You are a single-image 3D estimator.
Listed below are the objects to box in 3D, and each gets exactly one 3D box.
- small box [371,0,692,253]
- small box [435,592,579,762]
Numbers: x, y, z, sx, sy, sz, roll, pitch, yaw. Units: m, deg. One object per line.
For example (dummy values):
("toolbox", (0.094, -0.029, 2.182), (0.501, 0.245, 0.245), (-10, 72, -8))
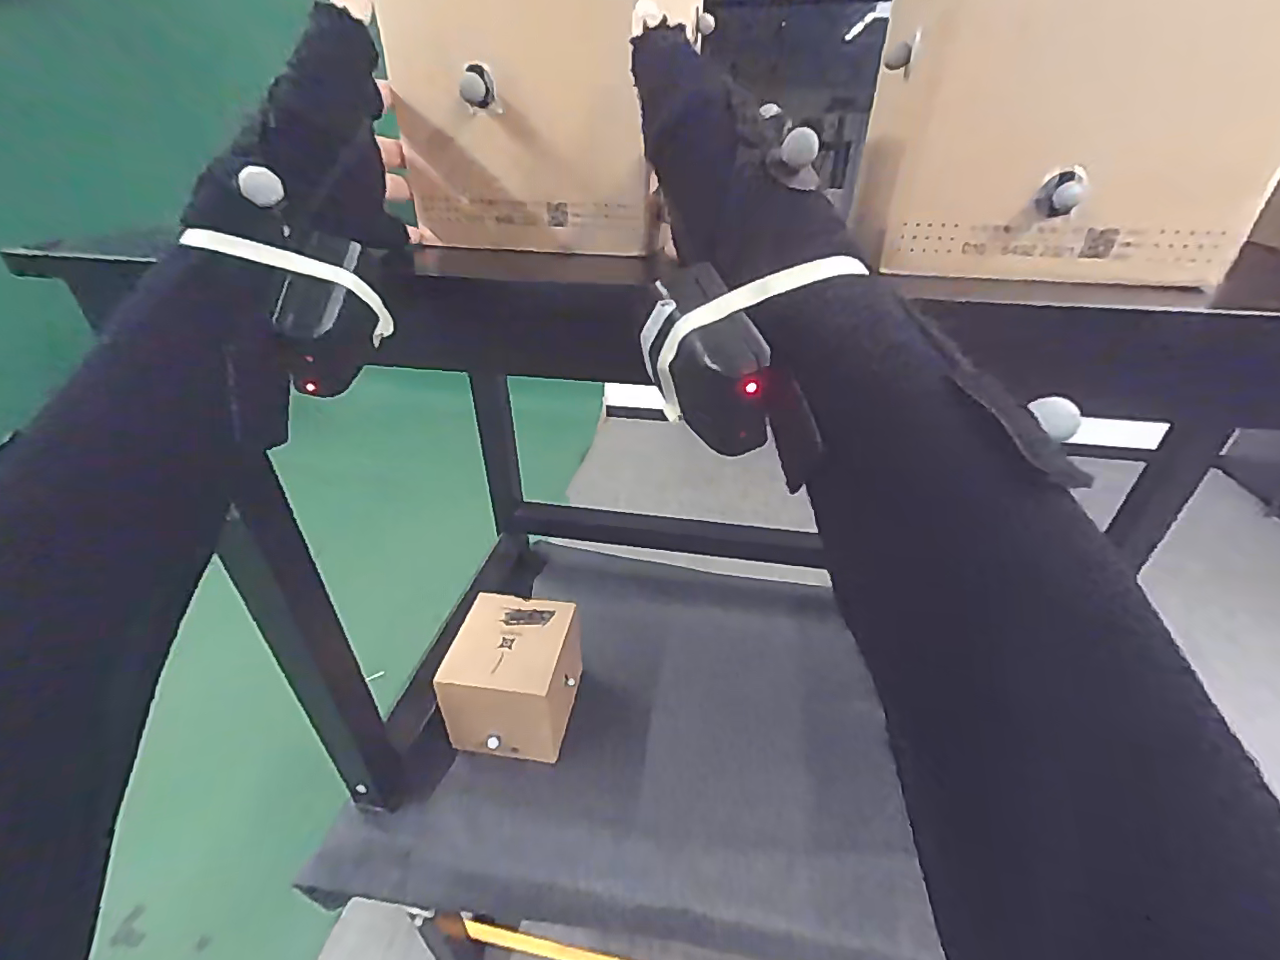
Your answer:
("small box", (-0.056, -0.268, 0.394), (0.168, 0.176, 0.179), (7, 32, 11))
("small box", (-0.194, 0.305, 0.849), (0.168, 0.176, 0.179), (4, 33, 7))
